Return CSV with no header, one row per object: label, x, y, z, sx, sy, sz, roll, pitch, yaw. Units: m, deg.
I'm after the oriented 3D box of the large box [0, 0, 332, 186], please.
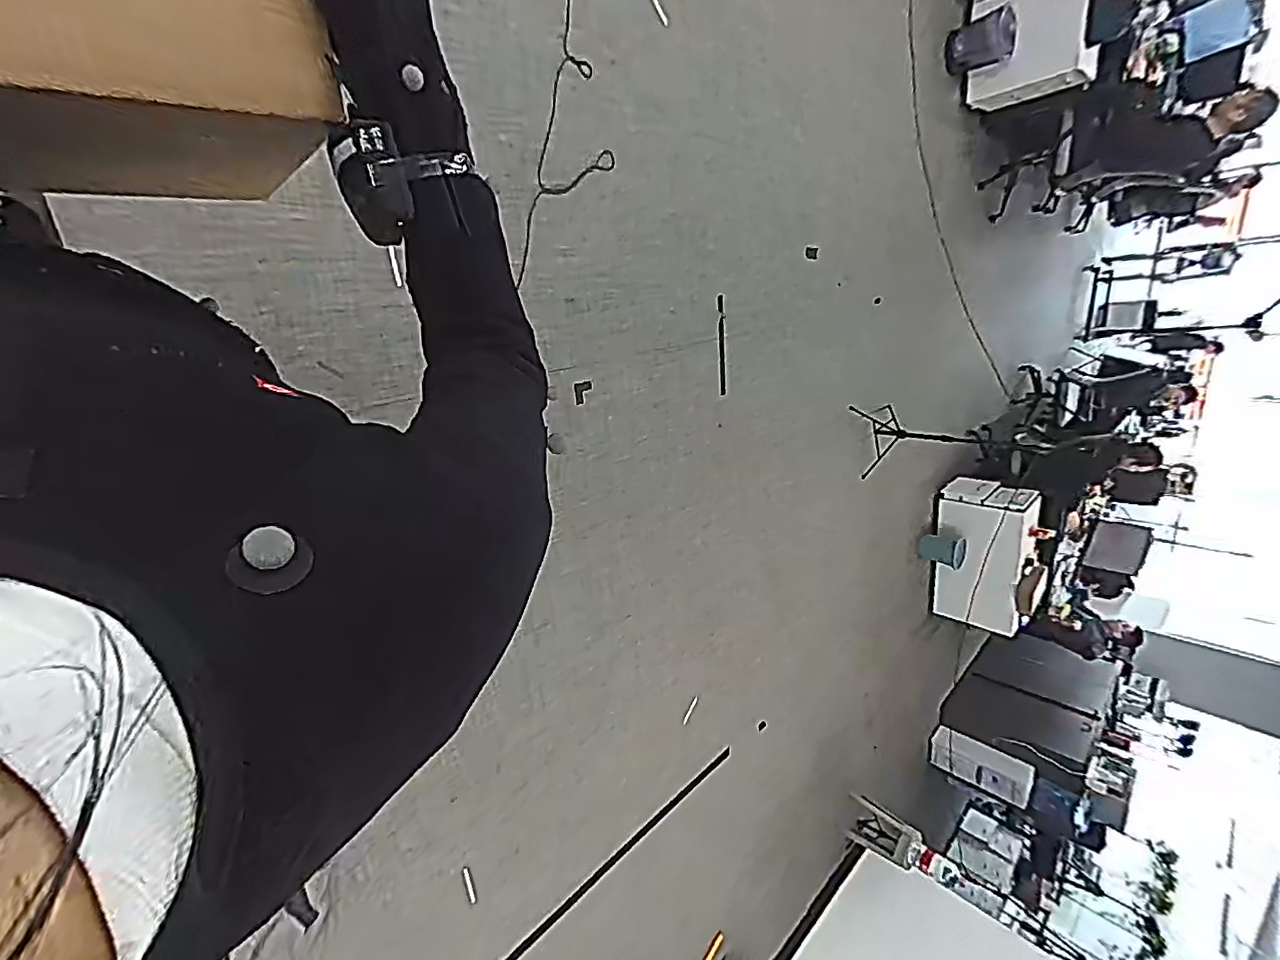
large box,-0.456,-0.356,0.283,0.408,0.320,0.320,-21,117,-38
